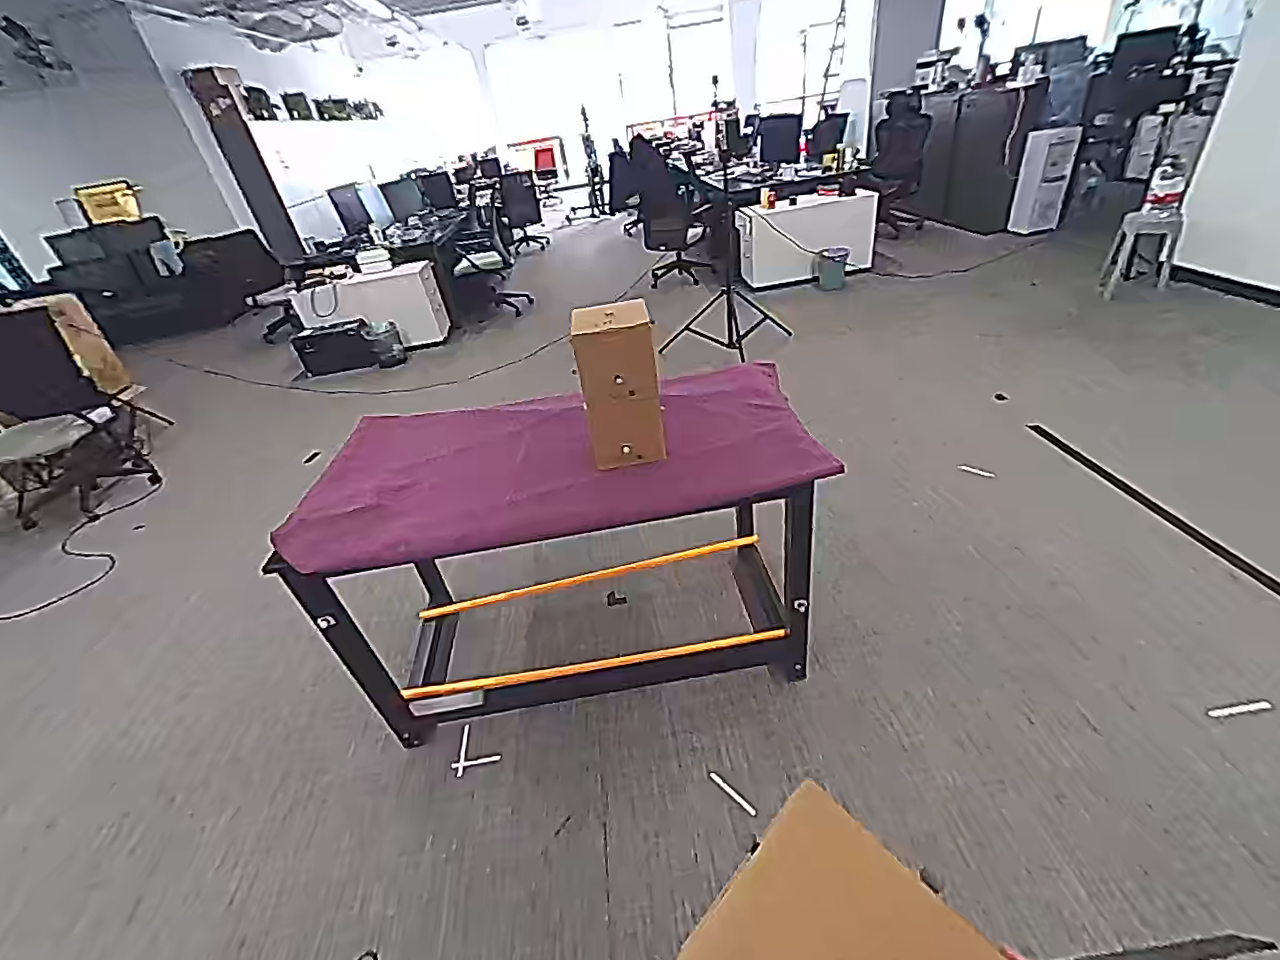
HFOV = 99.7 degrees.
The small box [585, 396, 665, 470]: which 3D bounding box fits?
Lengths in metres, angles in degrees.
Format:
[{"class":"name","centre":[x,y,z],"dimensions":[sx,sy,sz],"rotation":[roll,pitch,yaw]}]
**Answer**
[{"class":"small box","centre":[-0.035,-0.146,1.301],"dimensions":[0.168,0.176,0.179],"rotation":[-9,34,1]}]

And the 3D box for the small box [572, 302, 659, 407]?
[{"class":"small box","centre":[-0.052,-0.281,1.209],"dimensions":[0.168,0.176,0.179],"rotation":[-9,34,1]}]
